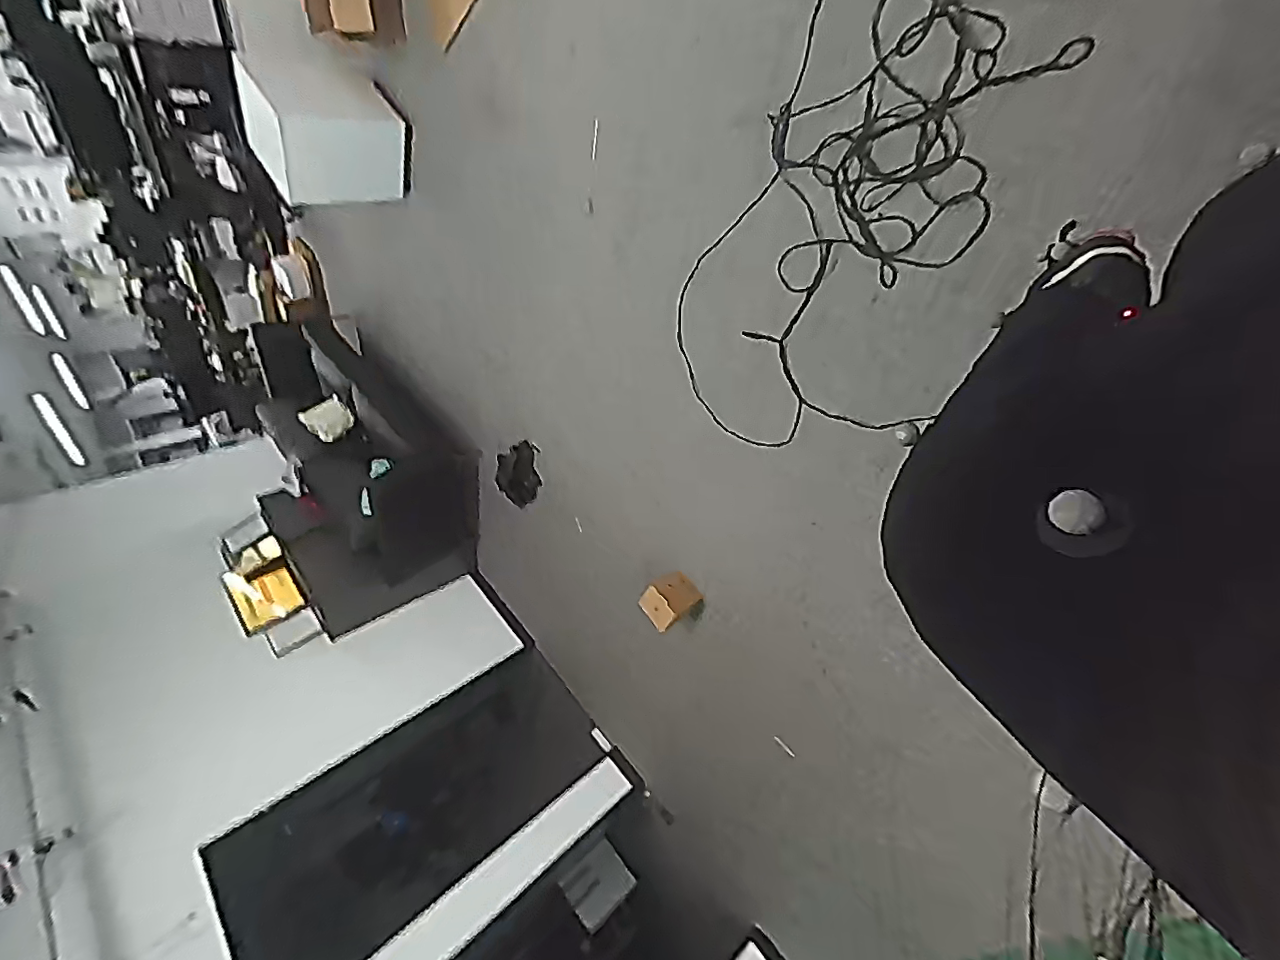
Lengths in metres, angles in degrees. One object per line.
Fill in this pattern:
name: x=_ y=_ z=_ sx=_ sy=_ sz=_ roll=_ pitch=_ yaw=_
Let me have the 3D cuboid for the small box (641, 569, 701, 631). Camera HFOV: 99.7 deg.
small box: x=0.138 y=0.512 z=2.320 sx=0.168 sy=0.176 sz=0.179 roll=50 pitch=142 yaw=22
